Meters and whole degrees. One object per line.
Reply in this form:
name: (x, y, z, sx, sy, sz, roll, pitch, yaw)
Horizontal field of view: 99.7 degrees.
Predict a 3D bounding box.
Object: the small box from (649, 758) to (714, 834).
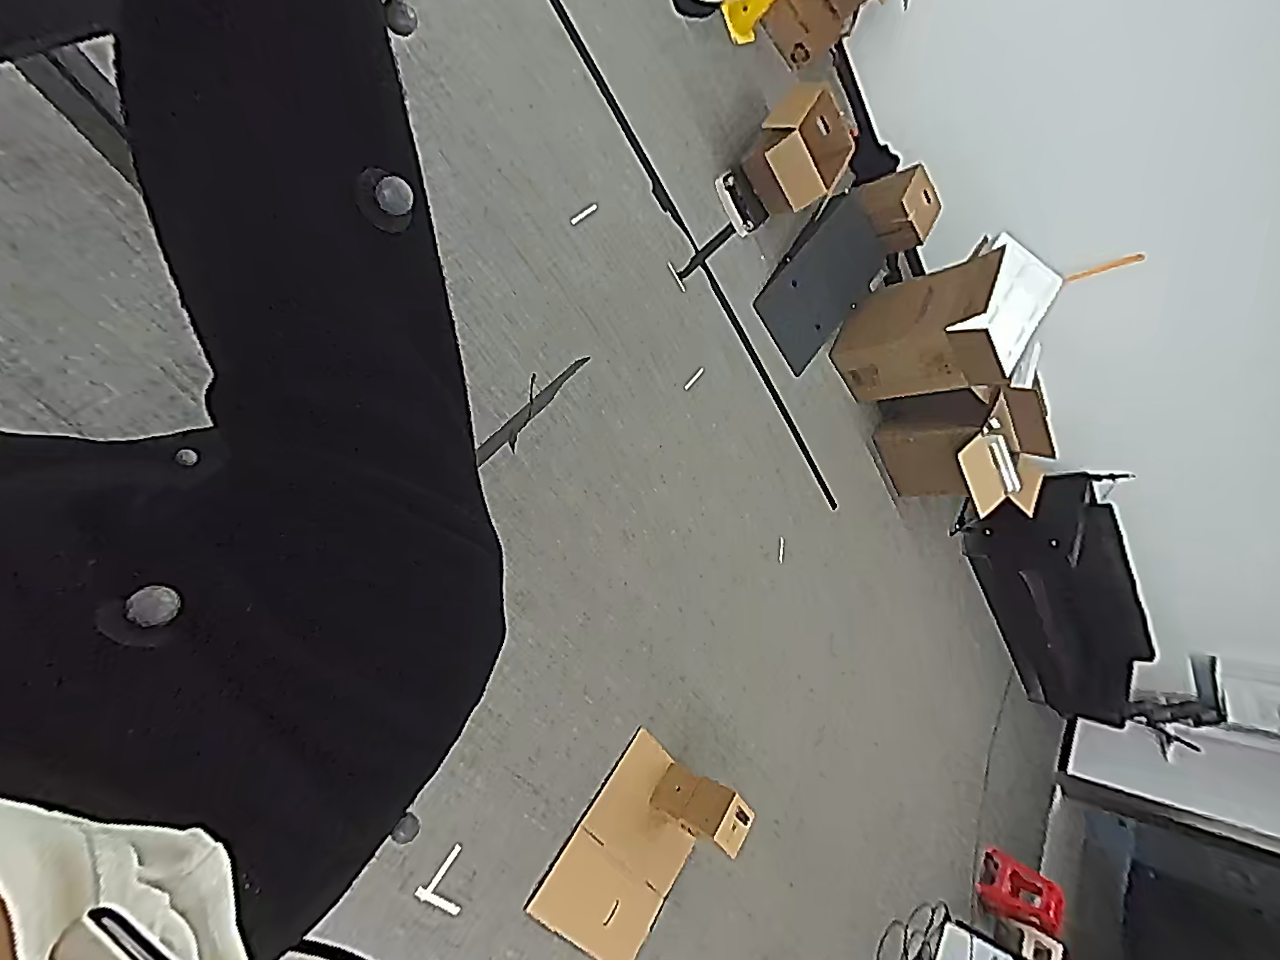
small box: (0.160, 1.261, 2.165, 0.179, 0.176, 0.168, -51, 119, -31)
